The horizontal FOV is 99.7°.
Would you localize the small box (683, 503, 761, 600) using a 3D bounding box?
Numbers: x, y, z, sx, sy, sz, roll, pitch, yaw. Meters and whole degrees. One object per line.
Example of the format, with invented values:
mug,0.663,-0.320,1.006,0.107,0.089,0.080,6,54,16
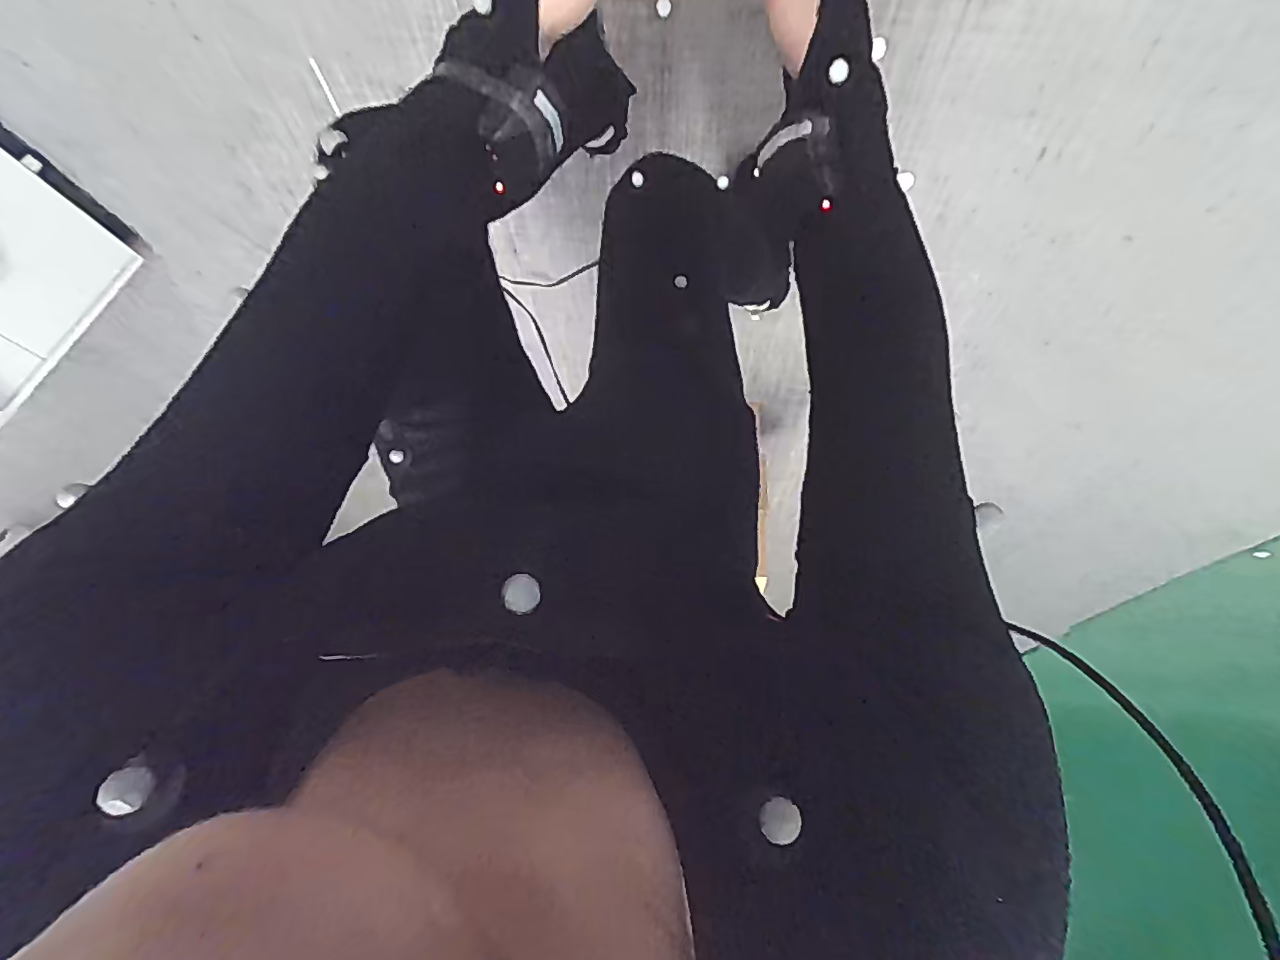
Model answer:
small box,0.190,0.171,1.274,0.168,0.176,0.179,2,149,5
